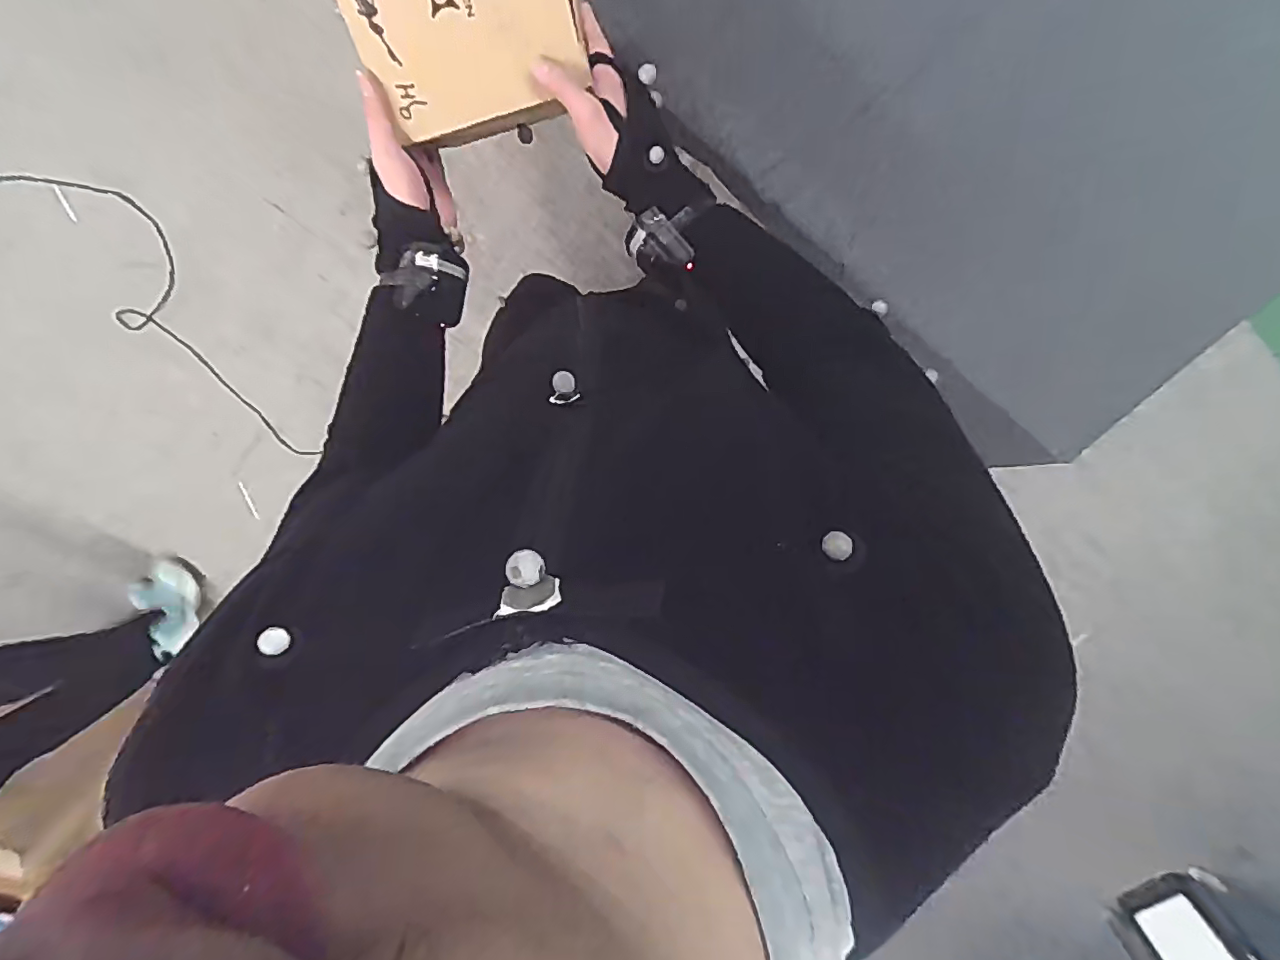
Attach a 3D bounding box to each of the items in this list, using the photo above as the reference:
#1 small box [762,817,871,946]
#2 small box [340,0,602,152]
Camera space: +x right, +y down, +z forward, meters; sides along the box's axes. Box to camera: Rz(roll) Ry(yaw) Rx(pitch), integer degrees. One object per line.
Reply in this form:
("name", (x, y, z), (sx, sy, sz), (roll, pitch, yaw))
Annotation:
("small box", (0.416, 0.973, 1.317), (0.168, 0.176, 0.179), (36, 109, -14))
("small box", (-0.135, -0.396, 0.464), (0.179, 0.176, 0.168), (-12, 118, 5))
